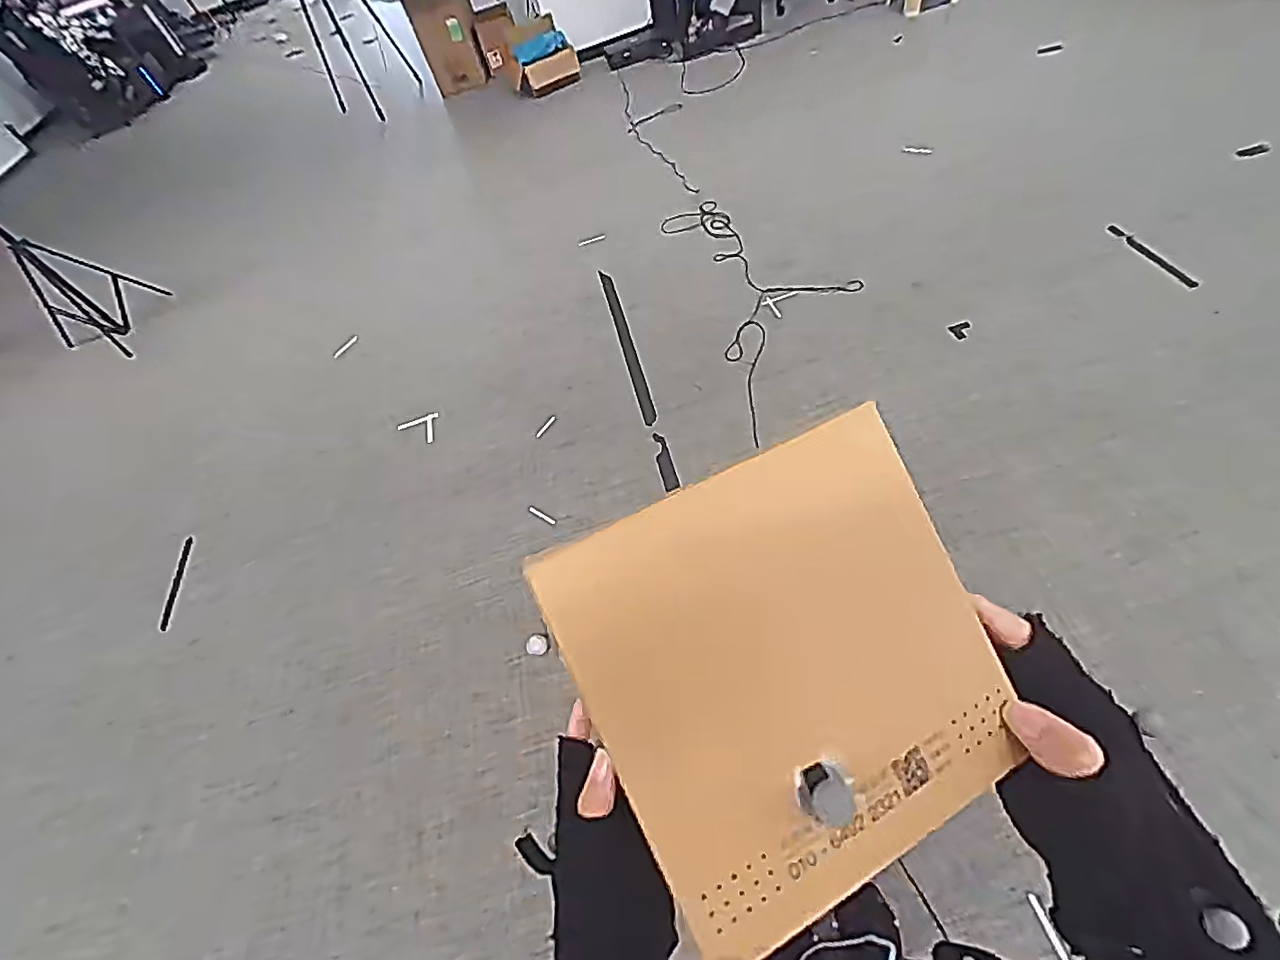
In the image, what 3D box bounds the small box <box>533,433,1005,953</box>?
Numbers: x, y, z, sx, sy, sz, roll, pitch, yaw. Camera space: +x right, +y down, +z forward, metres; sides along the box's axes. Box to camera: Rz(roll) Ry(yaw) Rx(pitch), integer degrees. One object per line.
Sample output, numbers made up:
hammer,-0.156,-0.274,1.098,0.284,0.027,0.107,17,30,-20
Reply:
small box,0.049,0.096,0.309,0.168,0.179,0.176,-25,89,-15
